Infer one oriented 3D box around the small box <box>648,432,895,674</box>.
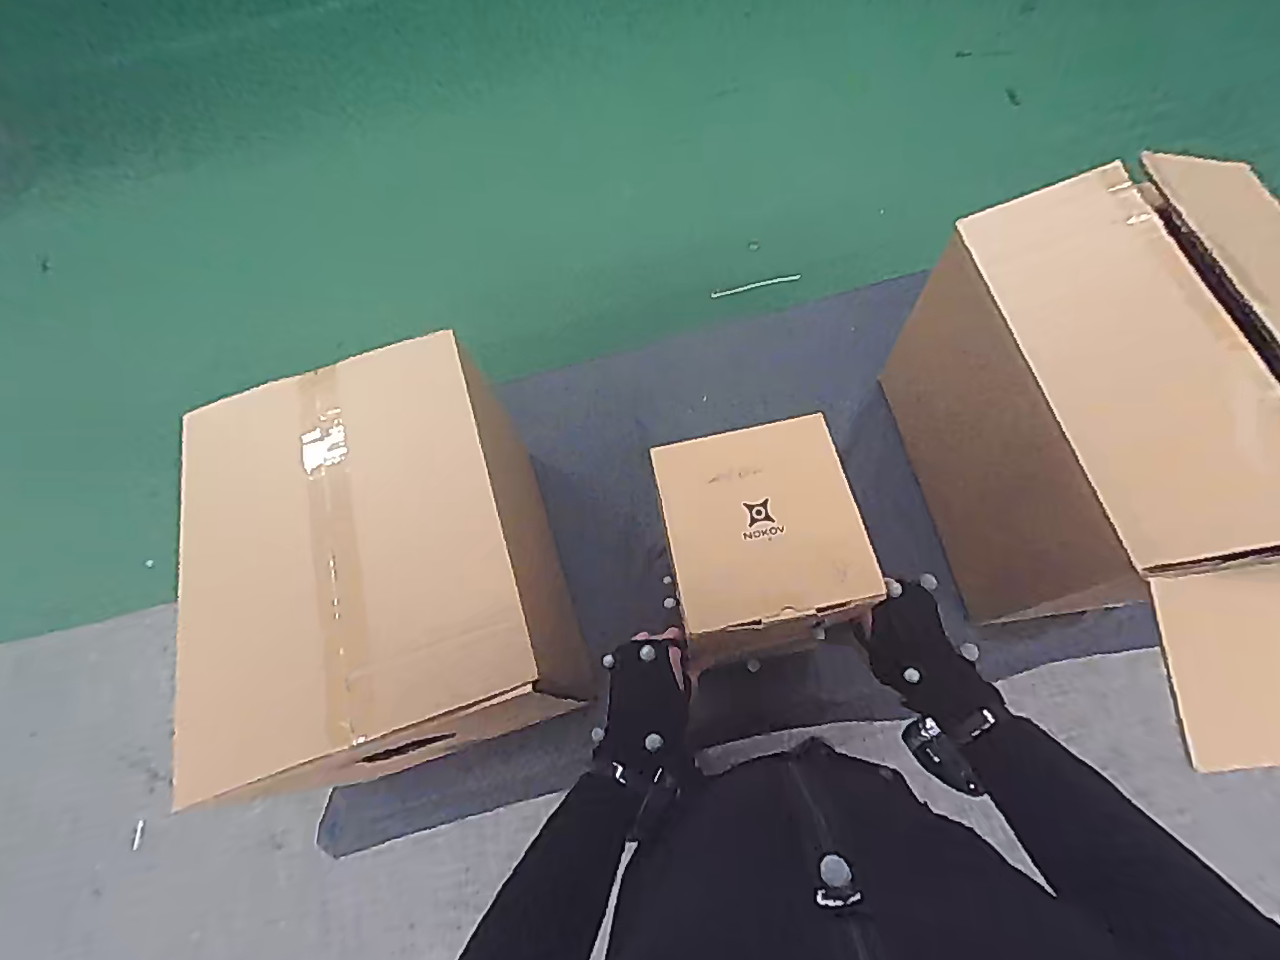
[{"bbox_3d":[0.108,0.082,0.516,0.168,0.176,0.179,-12,66,0],"label":"small box"}]
